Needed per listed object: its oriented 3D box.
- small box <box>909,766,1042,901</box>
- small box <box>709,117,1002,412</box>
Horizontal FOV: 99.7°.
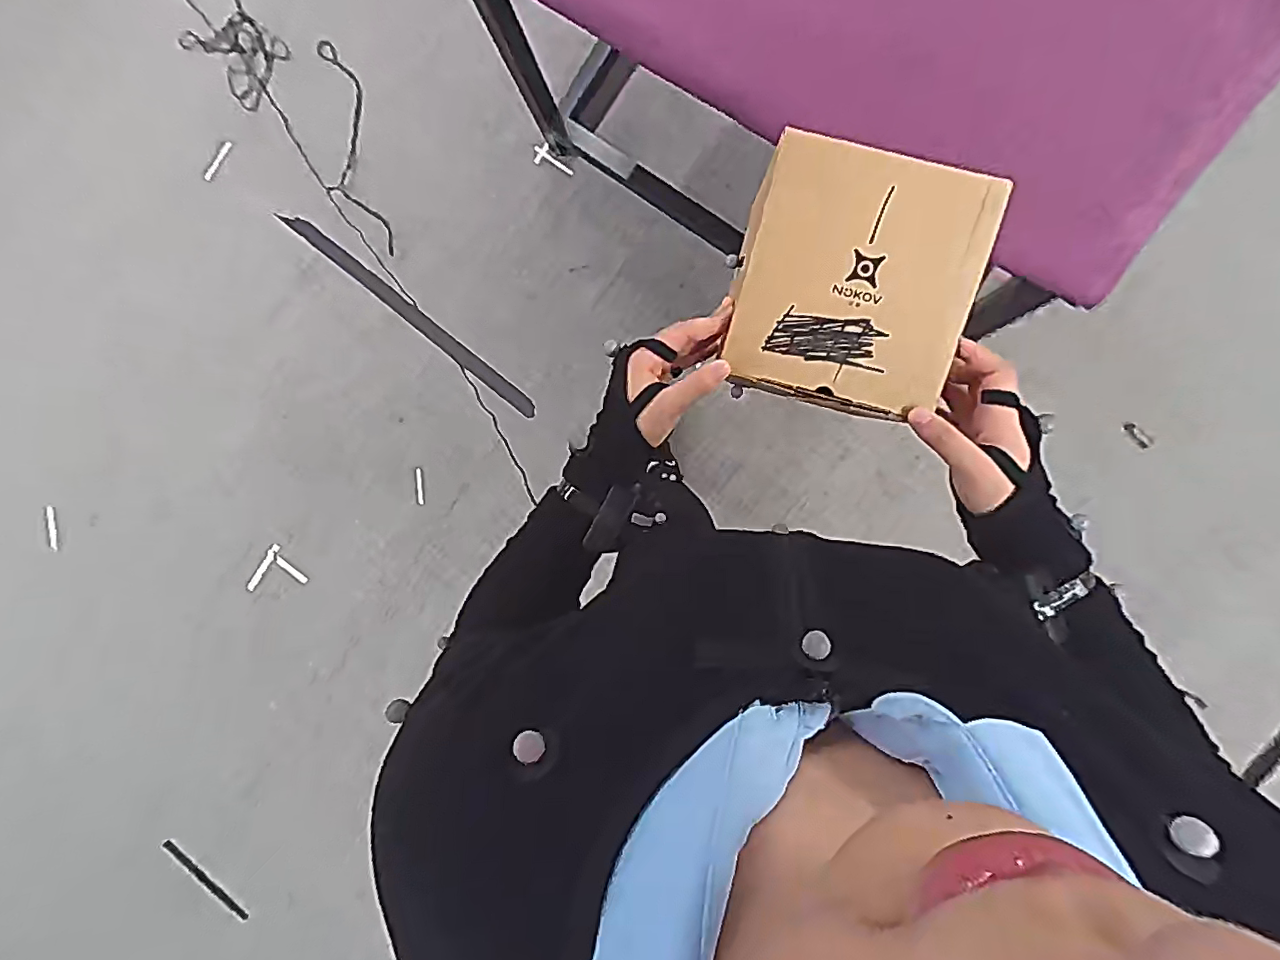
[{"bbox_3d":[0.783,0.825,1.284,0.179,0.176,0.168,33,94,6],"label":"small box"},{"bbox_3d":[0.160,-0.165,0.470,0.168,0.176,0.179,15,99,1],"label":"small box"}]
